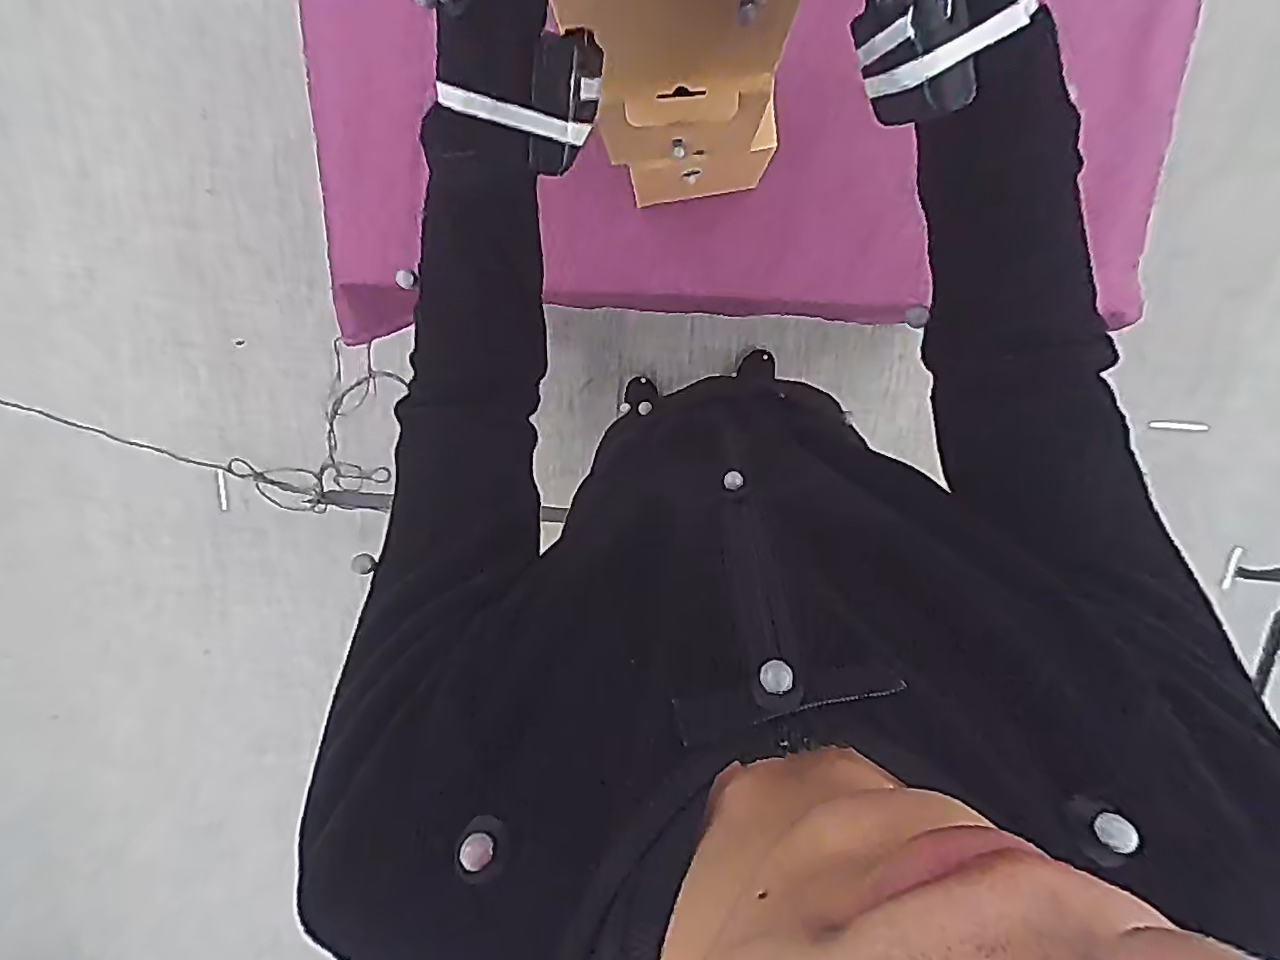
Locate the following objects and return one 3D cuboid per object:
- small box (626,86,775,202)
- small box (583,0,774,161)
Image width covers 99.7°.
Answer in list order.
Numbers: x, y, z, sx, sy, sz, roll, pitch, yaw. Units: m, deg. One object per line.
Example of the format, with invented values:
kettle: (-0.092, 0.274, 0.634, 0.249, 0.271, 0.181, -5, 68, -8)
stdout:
small box: (0.065, -0.474, 0.693, 0.179, 0.176, 0.168, -7, 103, 4)
small box: (0.035, -0.442, 0.533, 0.168, 0.176, 0.179, -2, 104, 4)
